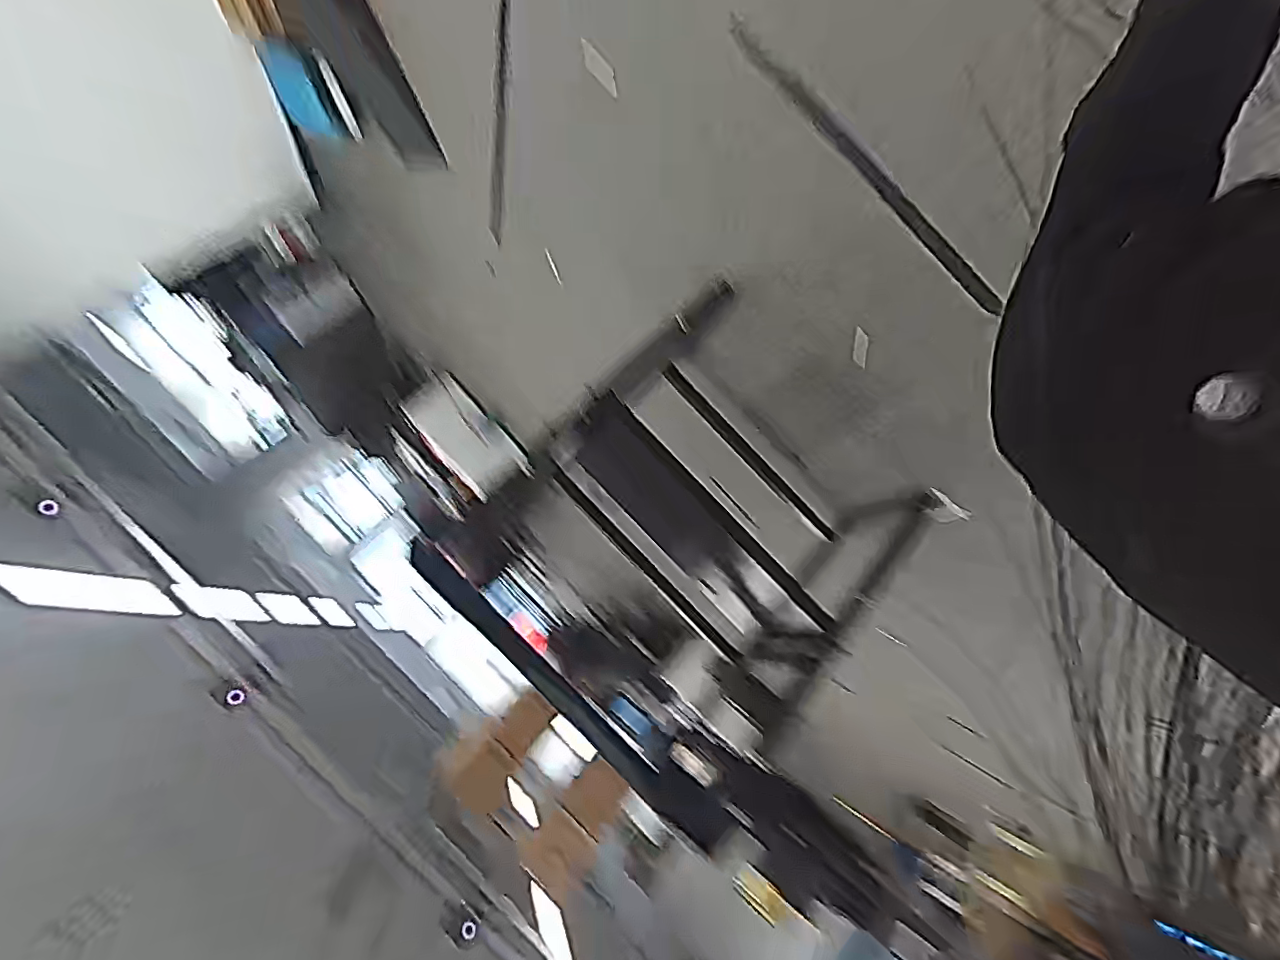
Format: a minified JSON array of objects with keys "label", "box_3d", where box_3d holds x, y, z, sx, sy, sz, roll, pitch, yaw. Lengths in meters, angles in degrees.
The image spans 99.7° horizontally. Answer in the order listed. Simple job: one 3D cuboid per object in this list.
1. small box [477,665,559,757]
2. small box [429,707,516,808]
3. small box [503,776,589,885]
[{"label":"small box","box_3d":[-0.357,0.667,1.583,0.168,0.176,0.179,47,161,-2]},{"label":"small box","box_3d":[-0.467,0.773,1.529,0.168,0.176,0.179,46,159,-3]},{"label":"small box","box_3d":[-0.266,0.979,1.533,0.168,0.176,0.179,46,161,-2]}]
